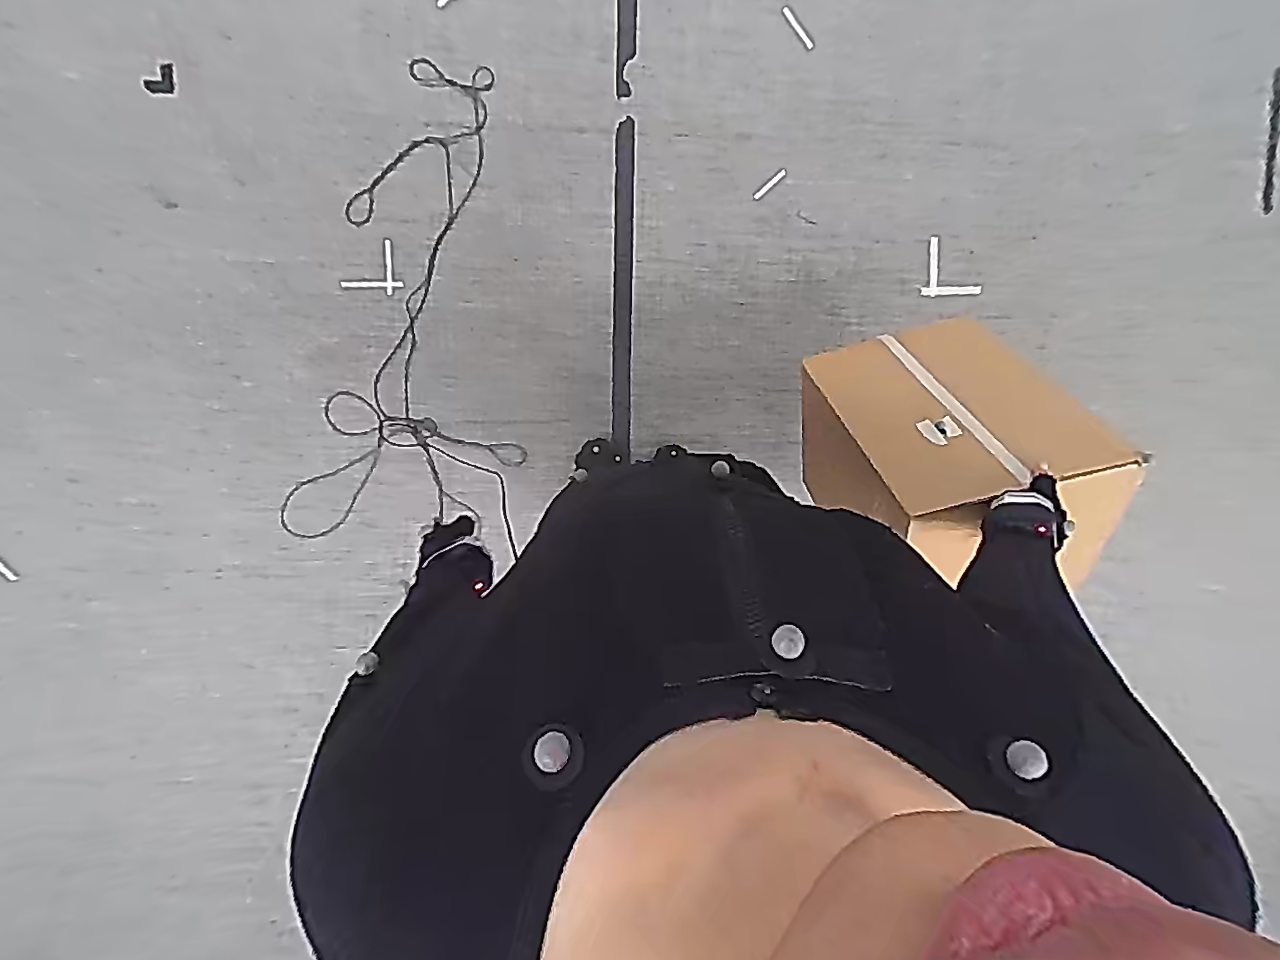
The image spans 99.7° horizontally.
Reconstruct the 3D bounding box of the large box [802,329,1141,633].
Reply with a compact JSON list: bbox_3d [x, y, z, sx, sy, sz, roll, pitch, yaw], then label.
[{"bbox_3d":[0.508,-0.007,0.956,0.320,0.408,0.320,-14,133,2],"label":"large box"}]
